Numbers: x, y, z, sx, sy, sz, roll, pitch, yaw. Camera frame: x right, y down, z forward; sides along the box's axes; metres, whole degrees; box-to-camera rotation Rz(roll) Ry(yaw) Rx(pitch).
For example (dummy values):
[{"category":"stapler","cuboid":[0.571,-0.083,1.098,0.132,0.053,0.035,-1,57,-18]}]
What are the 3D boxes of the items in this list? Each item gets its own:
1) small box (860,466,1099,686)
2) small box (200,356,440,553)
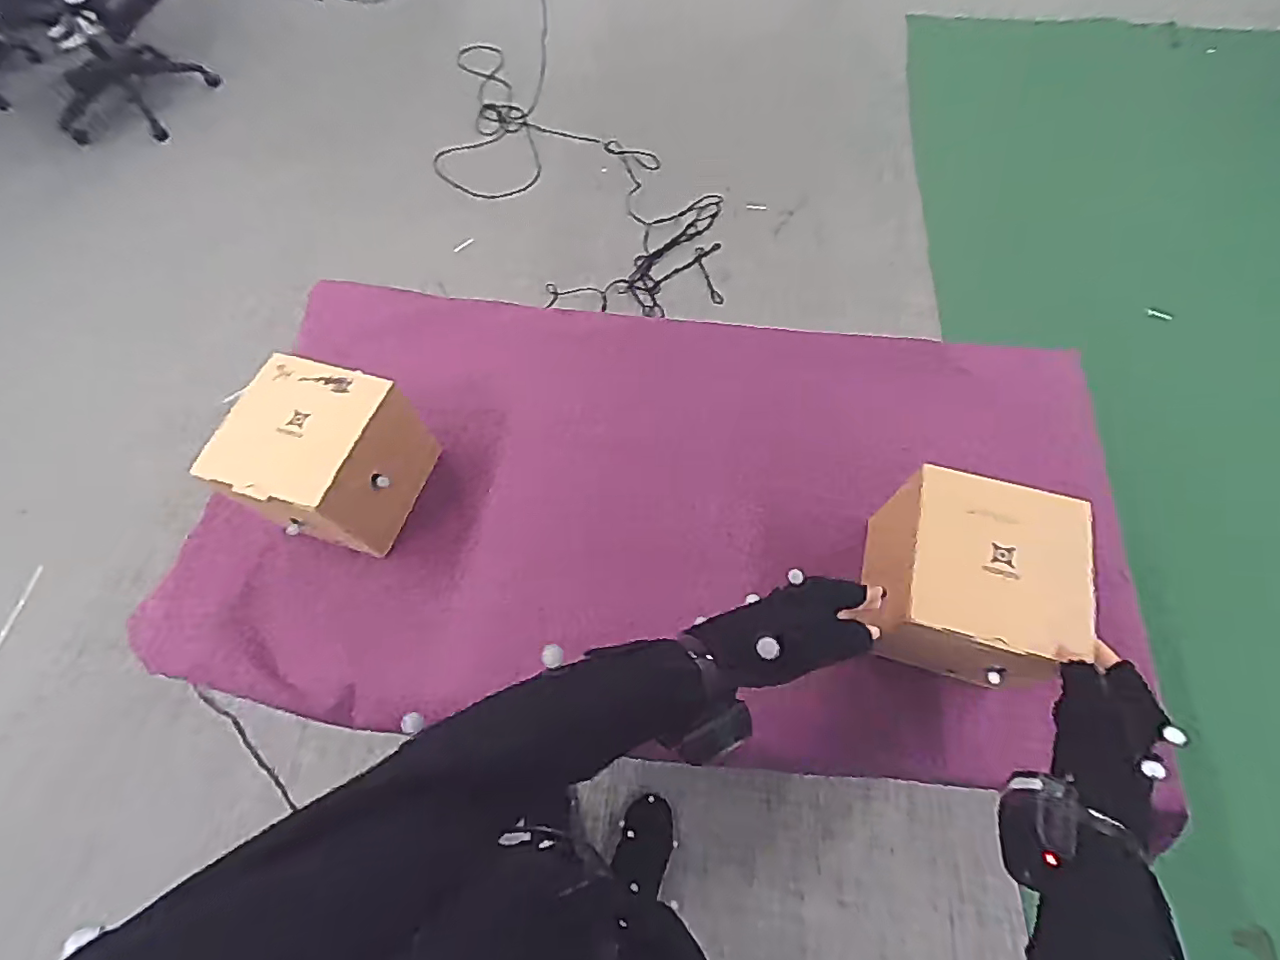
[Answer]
[{"category":"small box","cuboid":[0.358,0.114,0.597,0.168,0.176,0.179,15,66,9]},{"category":"small box","cuboid":[-0.385,-0.024,0.692,0.168,0.176,0.179,15,66,9]}]
